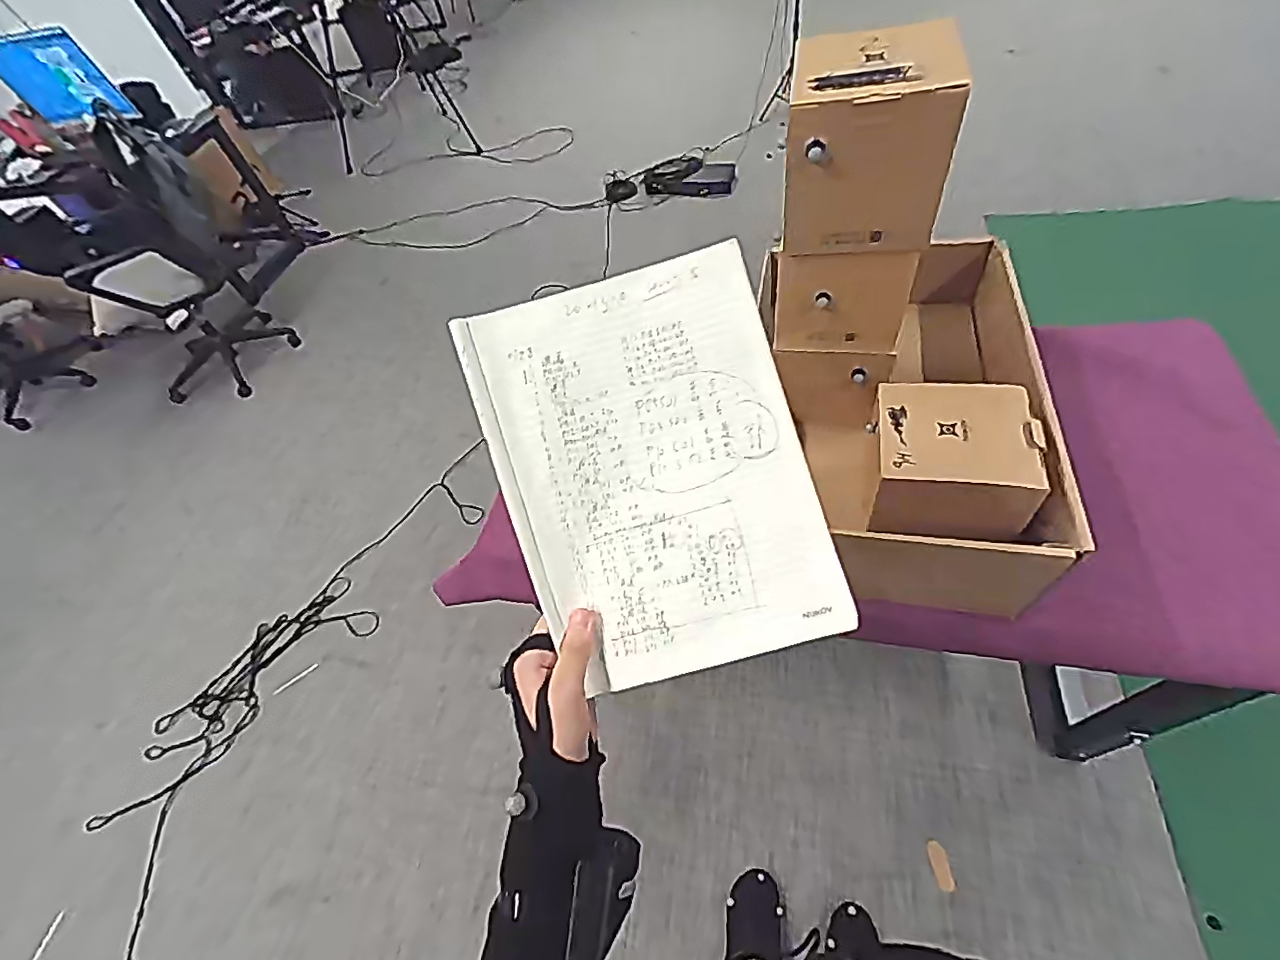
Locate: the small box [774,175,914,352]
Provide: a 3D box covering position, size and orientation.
[{"bbox_3d":[0.284,-0.301,0.771,0.168,0.176,0.179,5,56,16],"label":"small box"}]
